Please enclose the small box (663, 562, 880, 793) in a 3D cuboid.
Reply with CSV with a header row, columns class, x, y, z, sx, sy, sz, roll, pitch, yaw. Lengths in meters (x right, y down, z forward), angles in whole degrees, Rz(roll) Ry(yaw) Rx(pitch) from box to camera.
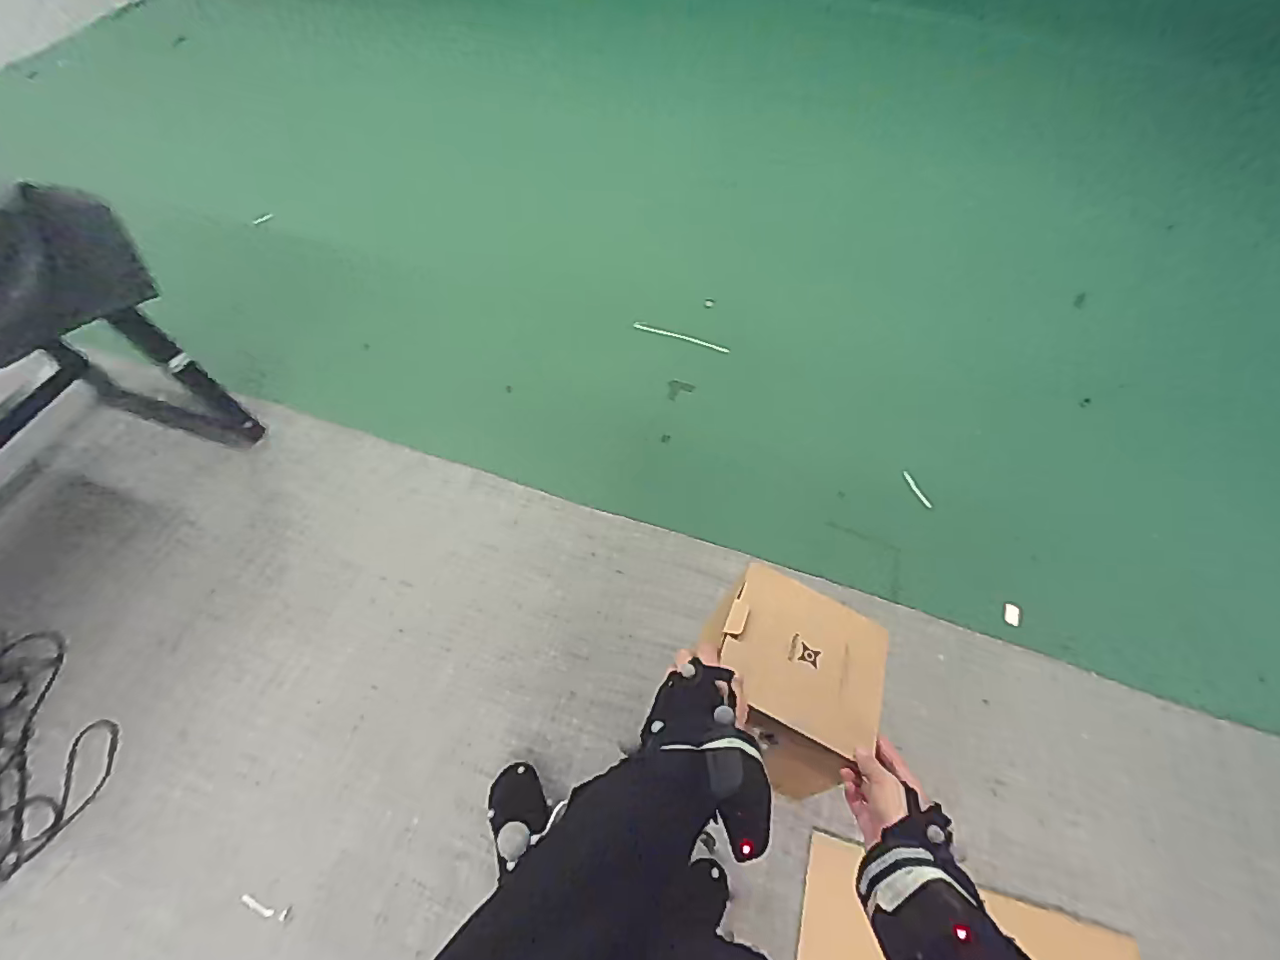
class,x,y,z,sx,sy,sz,roll,pitch,yaw
small box,0.145,0.234,0.628,0.179,0.176,0.168,27,49,5
